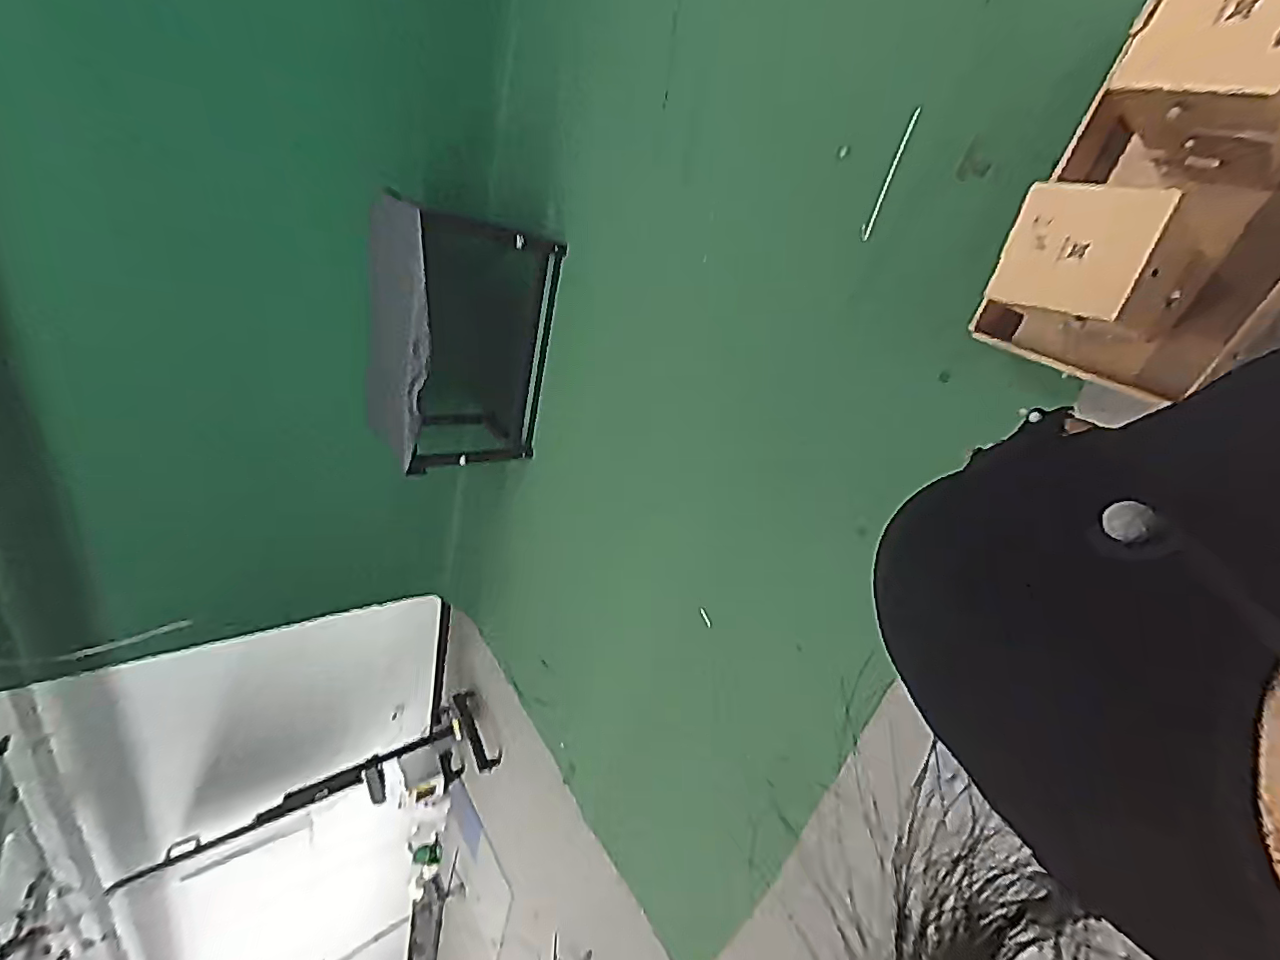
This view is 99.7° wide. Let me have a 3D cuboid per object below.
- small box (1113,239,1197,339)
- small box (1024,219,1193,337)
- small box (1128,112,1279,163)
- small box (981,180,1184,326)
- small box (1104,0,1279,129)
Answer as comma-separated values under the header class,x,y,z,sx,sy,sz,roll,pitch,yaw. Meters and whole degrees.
class,x,y,z,sx,sy,sz,roll,pitch,yaw
small box,0.906,-0.376,1.035,0.179,0.176,0.168,36,121,40
small box,0.787,-0.349,0.924,0.179,0.176,0.168,33,119,40
small box,0.875,-0.582,0.785,0.179,0.176,0.168,41,127,36
small box,0.665,-0.335,0.813,0.179,0.176,0.168,33,118,41
small box,0.749,-0.564,0.680,0.179,0.176,0.168,40,125,40
